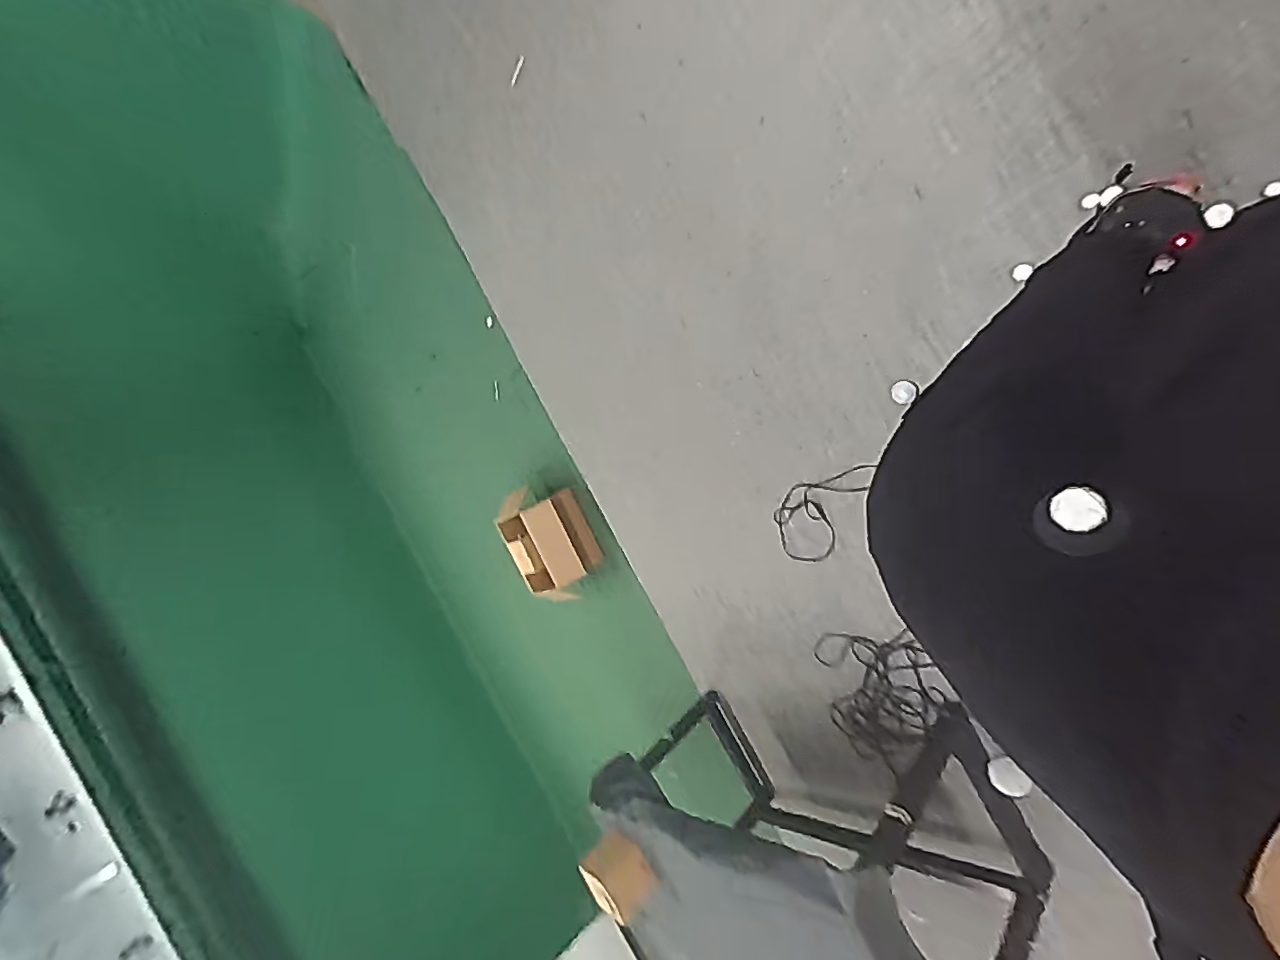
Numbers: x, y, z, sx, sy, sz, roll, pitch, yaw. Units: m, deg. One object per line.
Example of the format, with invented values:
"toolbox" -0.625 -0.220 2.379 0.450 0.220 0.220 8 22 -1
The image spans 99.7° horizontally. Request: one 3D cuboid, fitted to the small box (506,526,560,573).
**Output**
"small box" -0.515 0.337 2.614 0.179 0.176 0.168 -21 96 53
